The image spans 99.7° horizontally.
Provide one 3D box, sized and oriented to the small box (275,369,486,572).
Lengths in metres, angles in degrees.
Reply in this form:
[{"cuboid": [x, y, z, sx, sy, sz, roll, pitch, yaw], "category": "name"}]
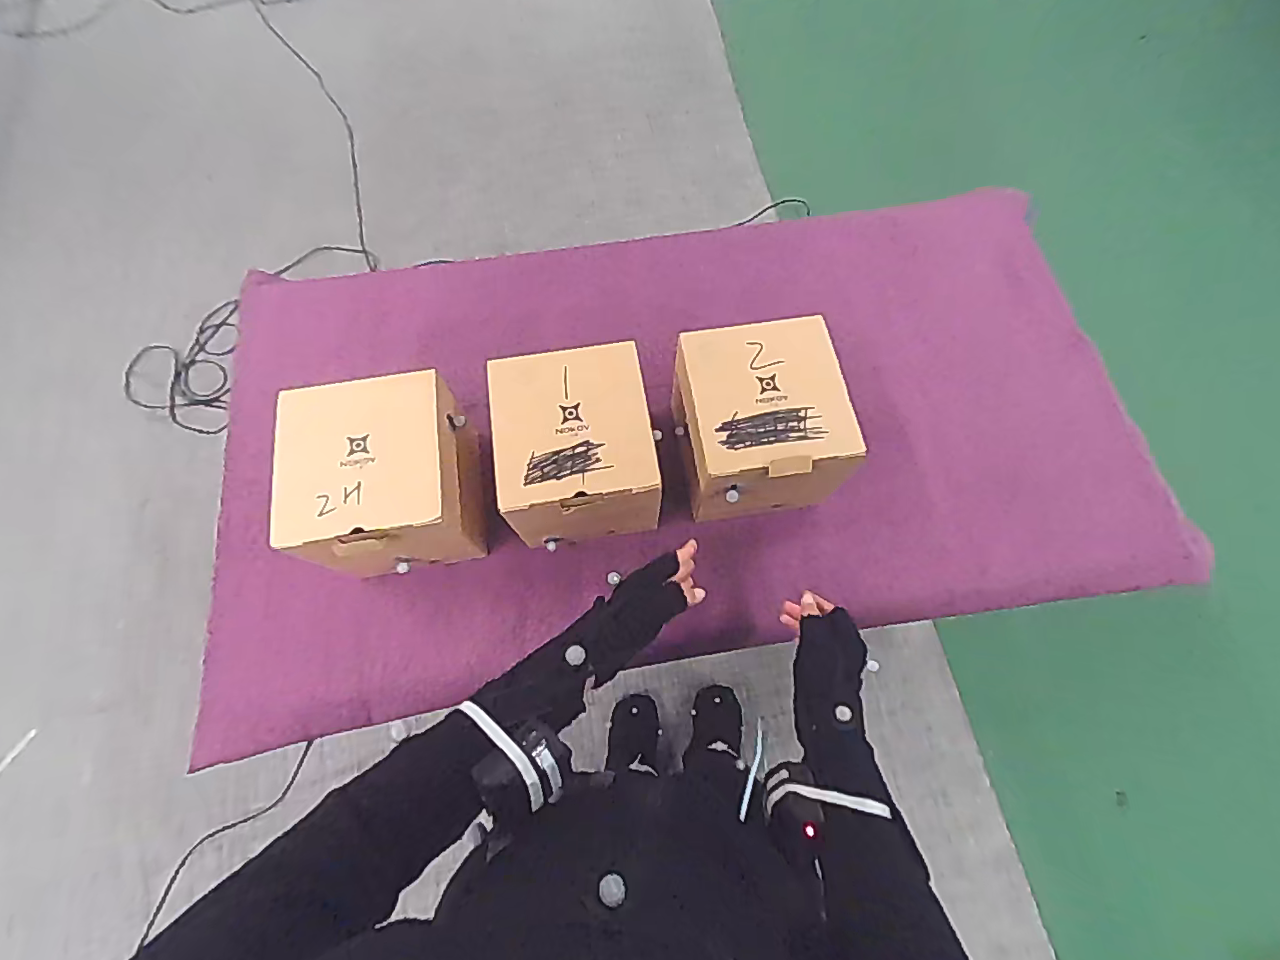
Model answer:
[{"cuboid": [-0.285, -0.003, 0.629, 0.168, 0.176, 0.179, -9, 71, -3], "category": "small box"}]
